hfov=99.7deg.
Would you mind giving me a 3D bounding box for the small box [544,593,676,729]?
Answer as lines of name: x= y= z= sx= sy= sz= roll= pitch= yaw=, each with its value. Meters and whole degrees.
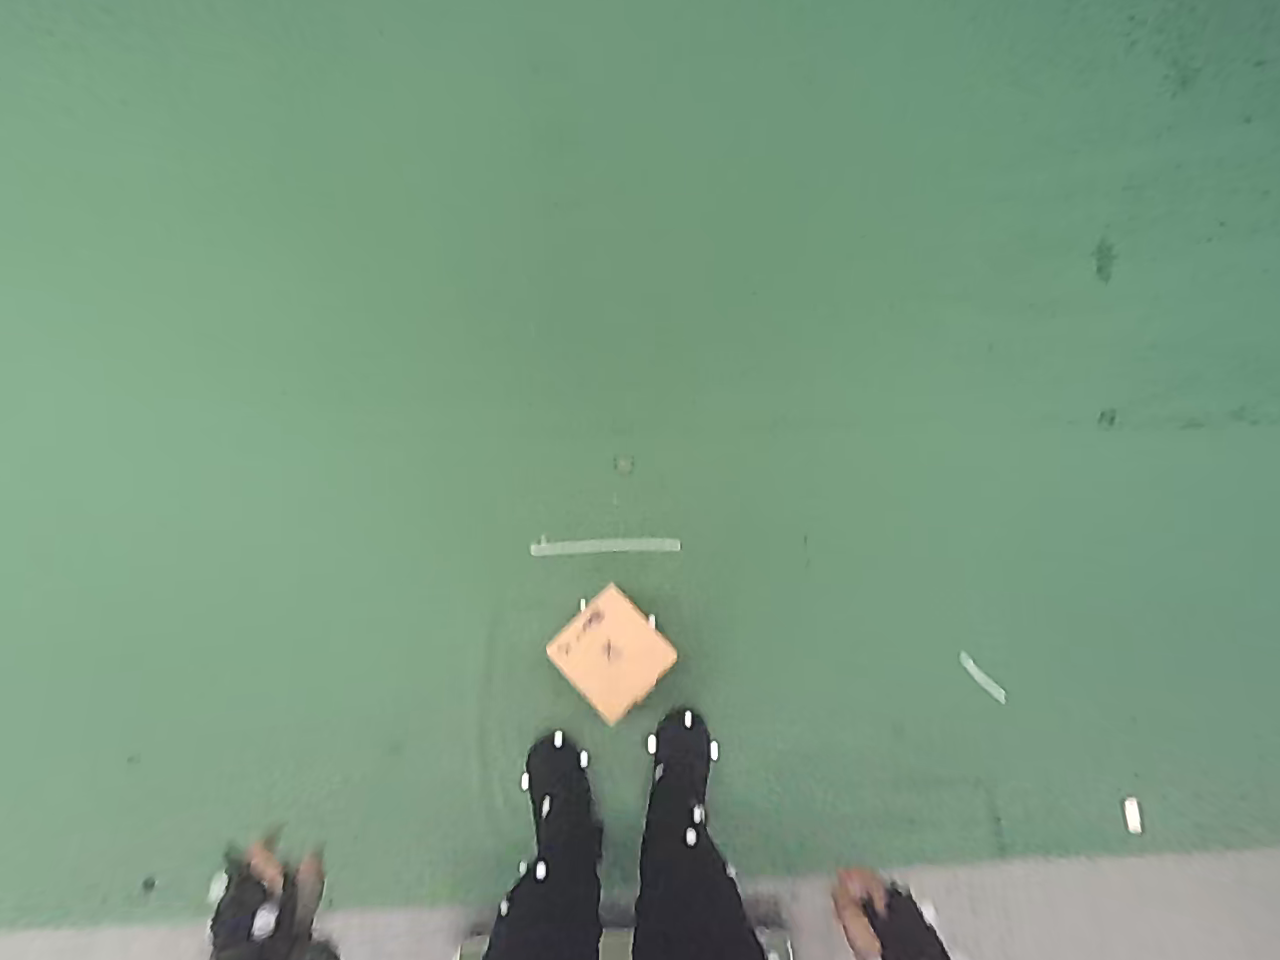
small box: x=-0.055 y=0.327 z=1.025 sx=0.168 sy=0.176 sz=0.179 roll=-43 pitch=83 yaw=-10
